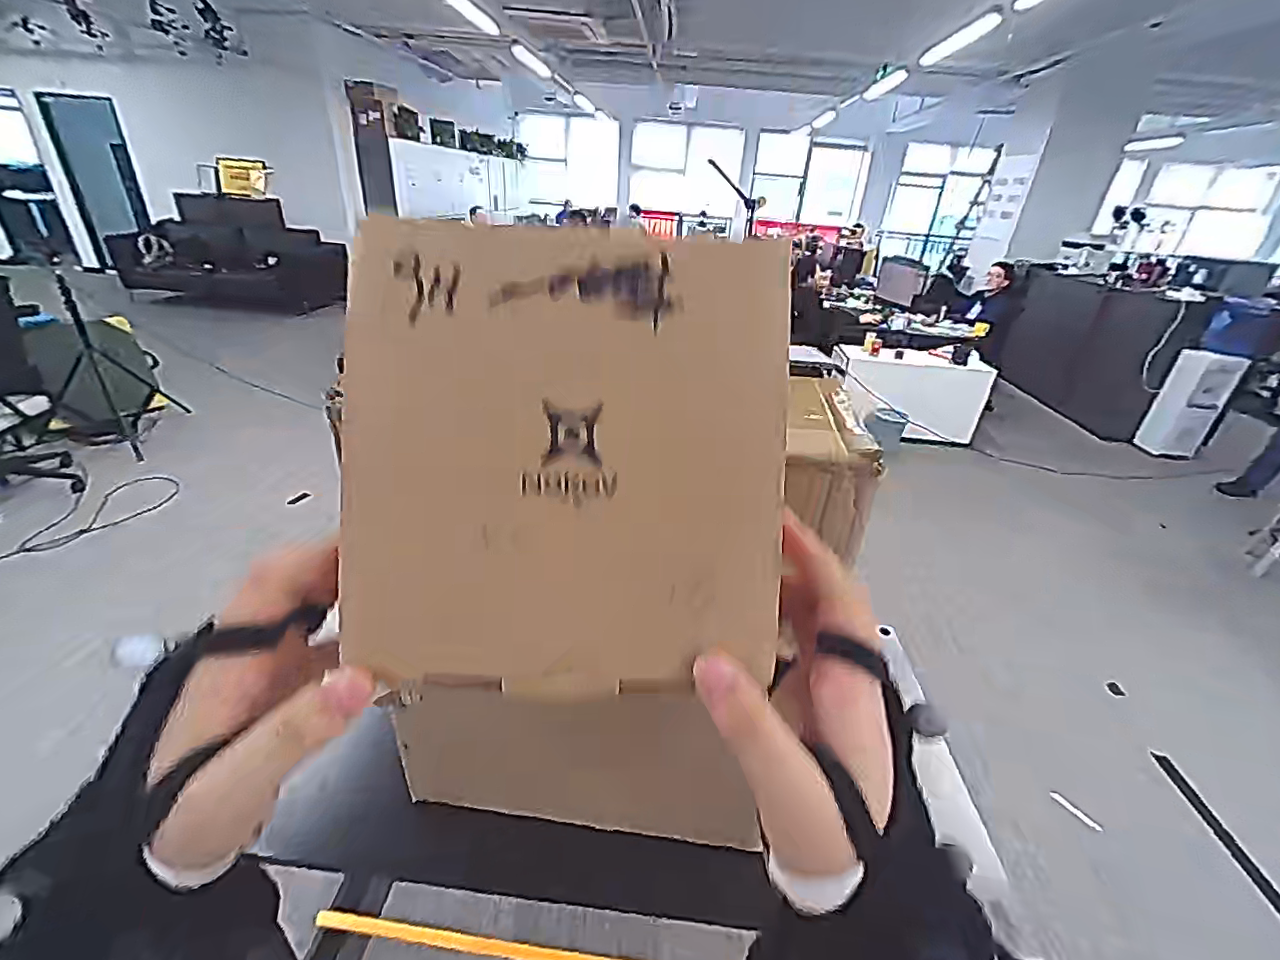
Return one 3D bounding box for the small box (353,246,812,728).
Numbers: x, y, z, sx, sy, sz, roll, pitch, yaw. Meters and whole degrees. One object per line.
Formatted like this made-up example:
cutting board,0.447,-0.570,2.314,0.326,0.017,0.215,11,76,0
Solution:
small box,-0.025,0.002,0.282,0.168,0.179,0.176,3,2,-4
